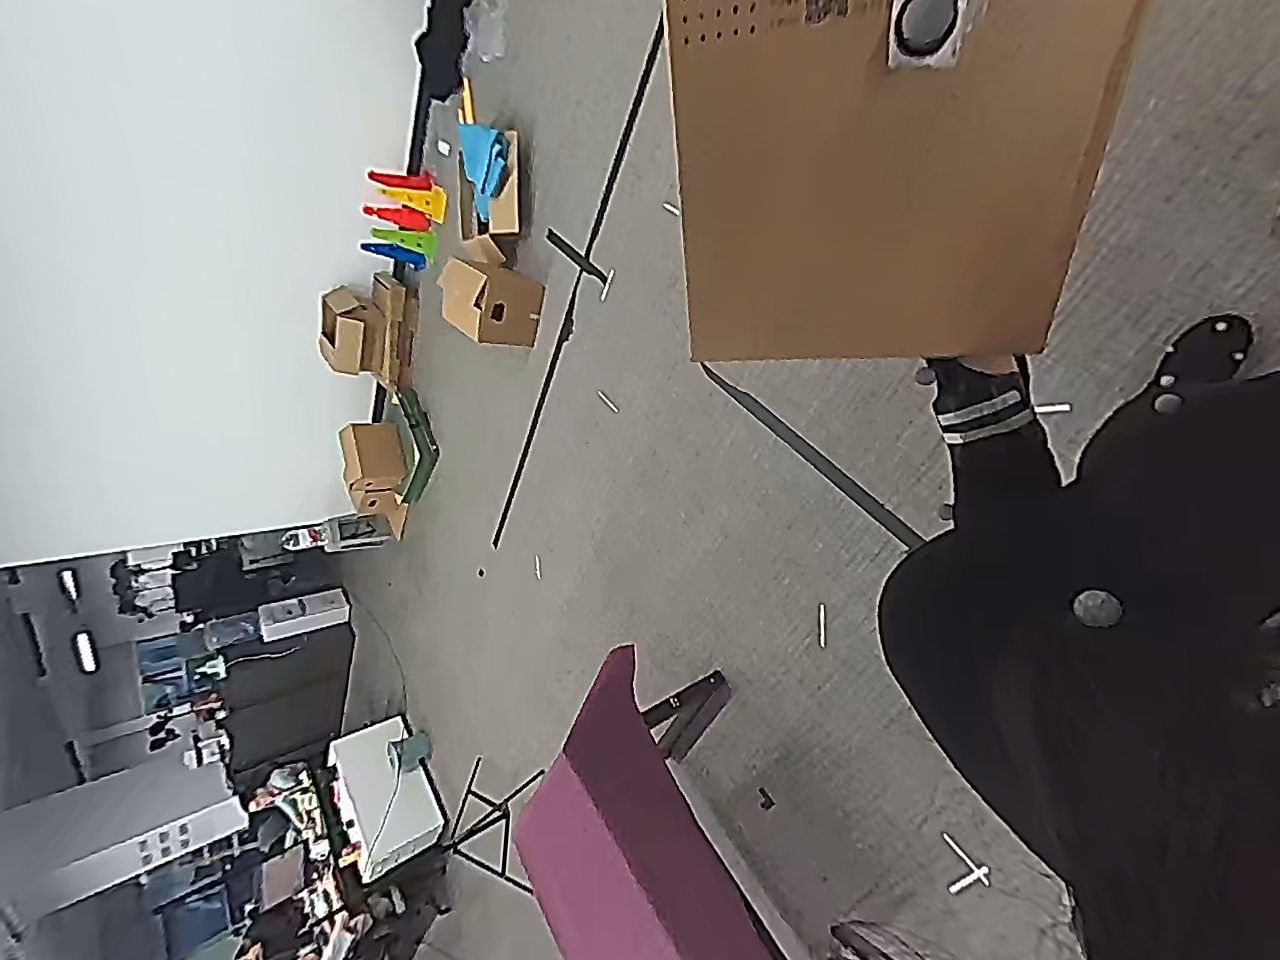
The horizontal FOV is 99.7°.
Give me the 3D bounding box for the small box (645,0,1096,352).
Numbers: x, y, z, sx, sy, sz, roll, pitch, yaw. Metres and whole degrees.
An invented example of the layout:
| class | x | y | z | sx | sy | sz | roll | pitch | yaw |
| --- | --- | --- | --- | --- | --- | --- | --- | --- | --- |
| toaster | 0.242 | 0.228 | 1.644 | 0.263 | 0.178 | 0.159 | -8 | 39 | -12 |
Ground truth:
| class | x | y | z | sx | sy | sz | roll | pitch | yaw |
| --- | --- | --- | --- | --- | --- | --- | --- | --- | --- |
| small box | 0.109 | -0.182 | 0.289 | 0.168 | 0.179 | 0.176 | 2 | 126 | 18 |
